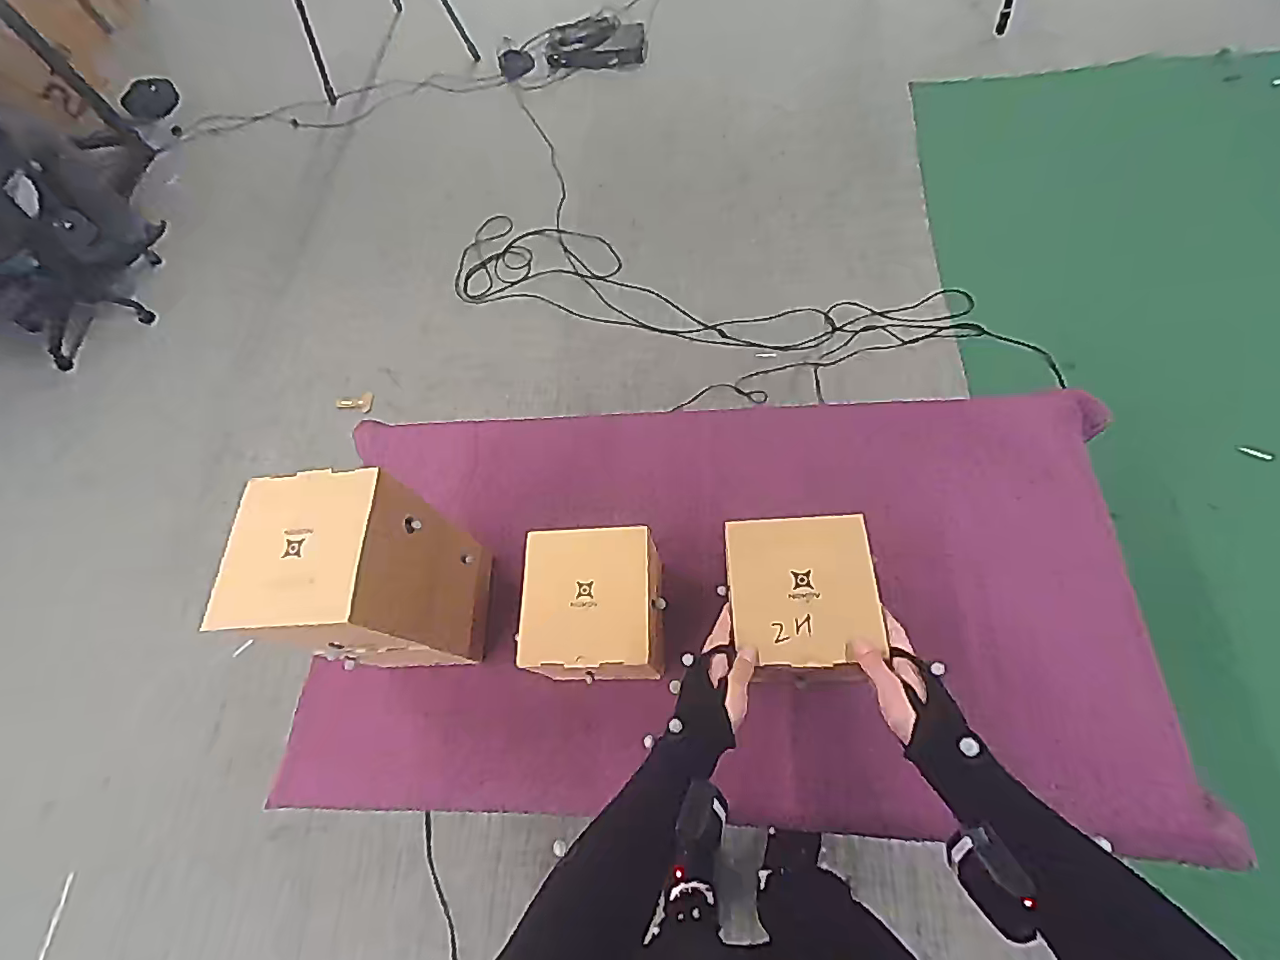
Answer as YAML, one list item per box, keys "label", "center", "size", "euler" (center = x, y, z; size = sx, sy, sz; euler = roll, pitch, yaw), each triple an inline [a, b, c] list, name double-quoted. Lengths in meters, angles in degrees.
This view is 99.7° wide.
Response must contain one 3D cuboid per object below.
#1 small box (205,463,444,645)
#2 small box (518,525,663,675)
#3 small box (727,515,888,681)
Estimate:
- label: "small box"
  center: [-0.356, 0.096, 0.652]
  size: [0.168, 0.176, 0.179]
  euler: [-3, 65, 7]
- label: "small box"
  center: [-0.059, 0.174, 0.758]
  size: [0.168, 0.176, 0.179]
  euler: [-3, 66, 7]
- label: "small box"
  center: [0.200, 0.158, 0.700]
  size: [0.168, 0.176, 0.179]
  euler: [-3, 64, 8]
